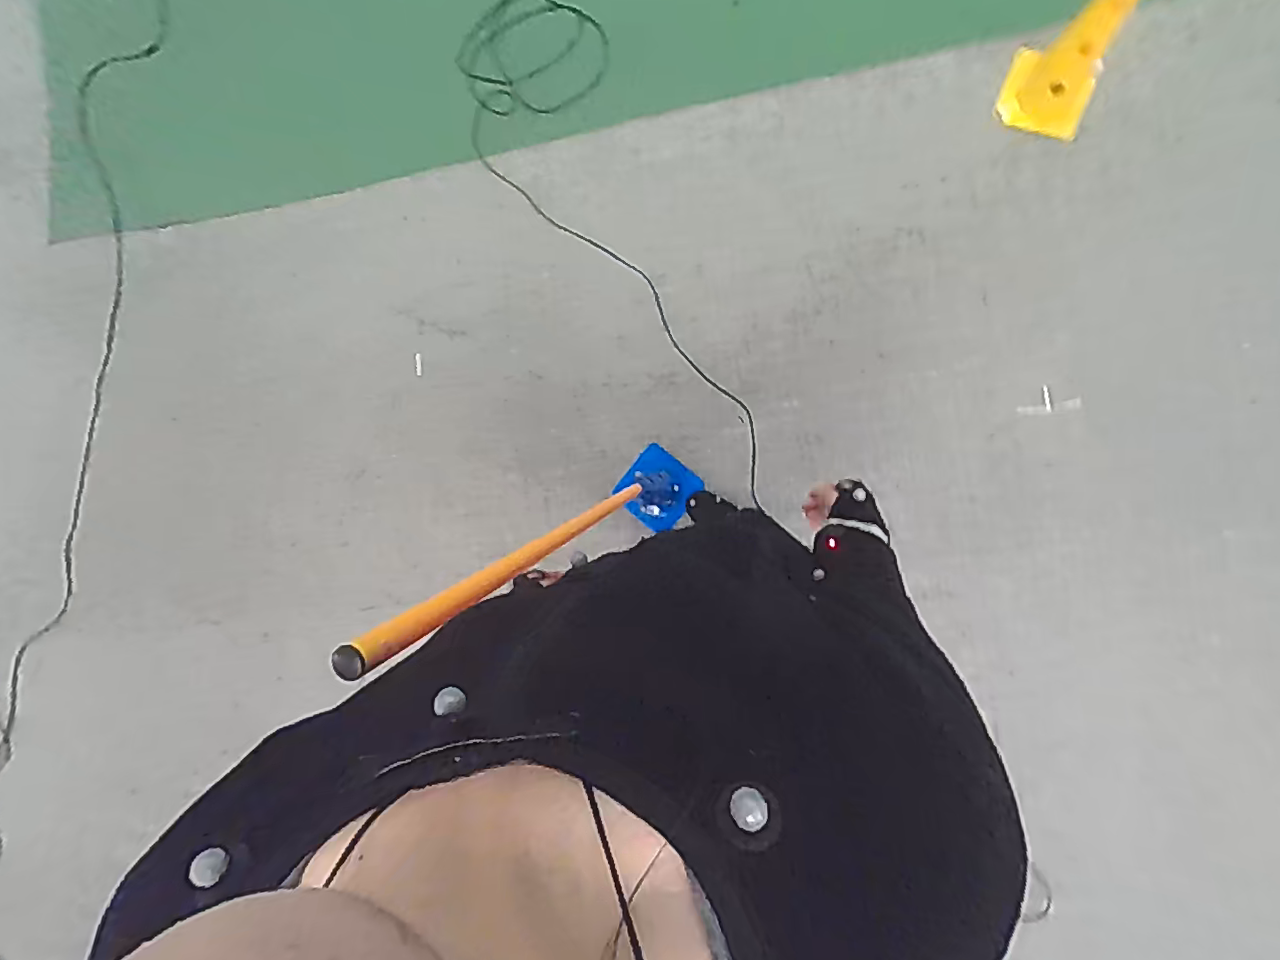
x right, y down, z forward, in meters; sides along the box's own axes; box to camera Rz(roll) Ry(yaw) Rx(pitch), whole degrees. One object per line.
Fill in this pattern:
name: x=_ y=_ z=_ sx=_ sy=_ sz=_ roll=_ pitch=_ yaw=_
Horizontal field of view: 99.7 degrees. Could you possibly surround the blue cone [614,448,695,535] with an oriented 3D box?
blue cone: x=0.013 y=0.032 z=1.330 sx=0.192 sy=0.380 sz=0.193 roll=38 pitch=95 yaw=8
